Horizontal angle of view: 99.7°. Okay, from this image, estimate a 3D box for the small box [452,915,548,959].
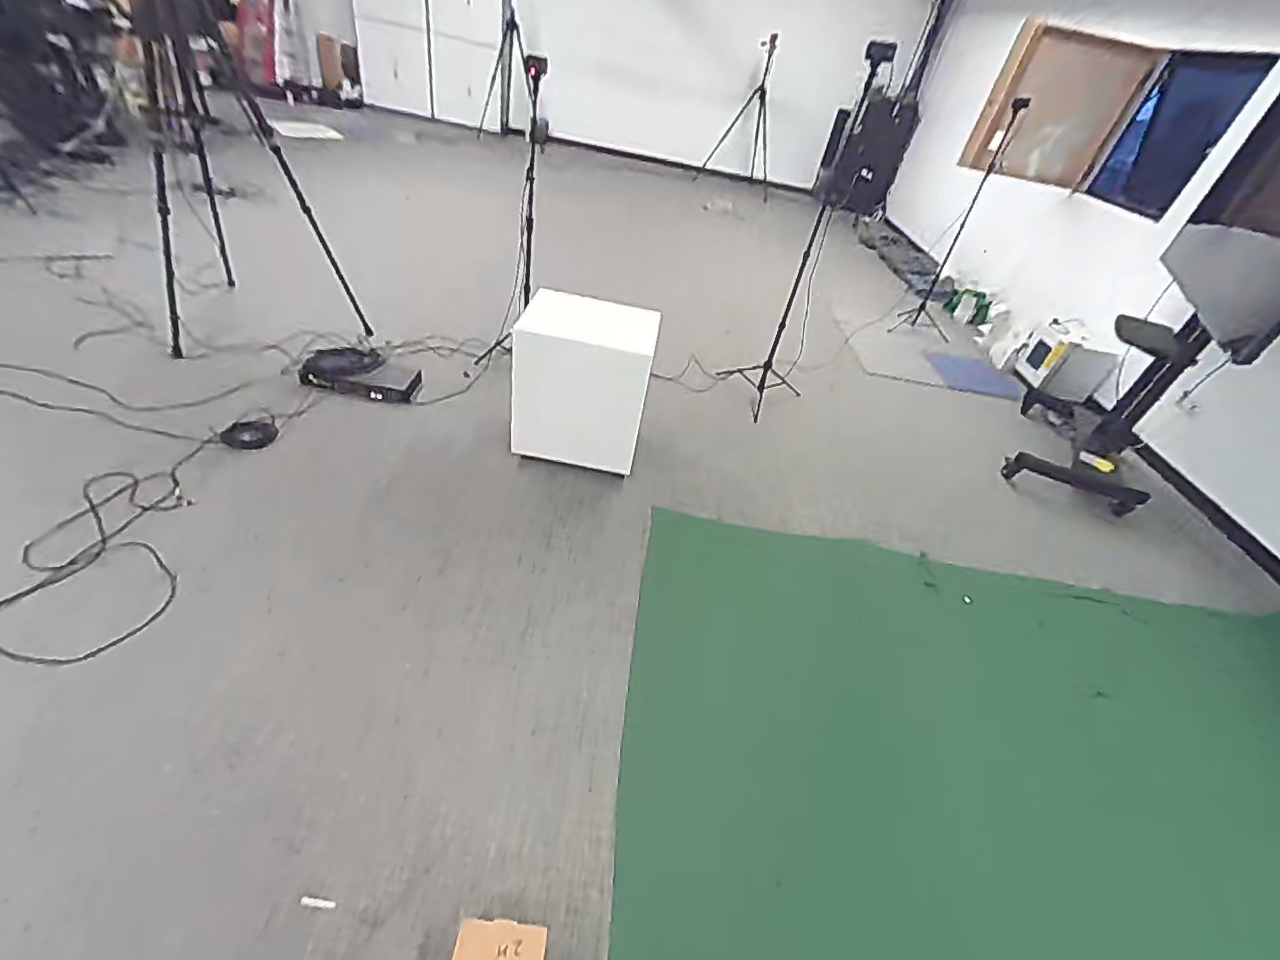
[{"bbox_3d":[-0.272,0.945,1.006,0.168,0.176,0.179,11,40,-4],"label":"small box"}]
